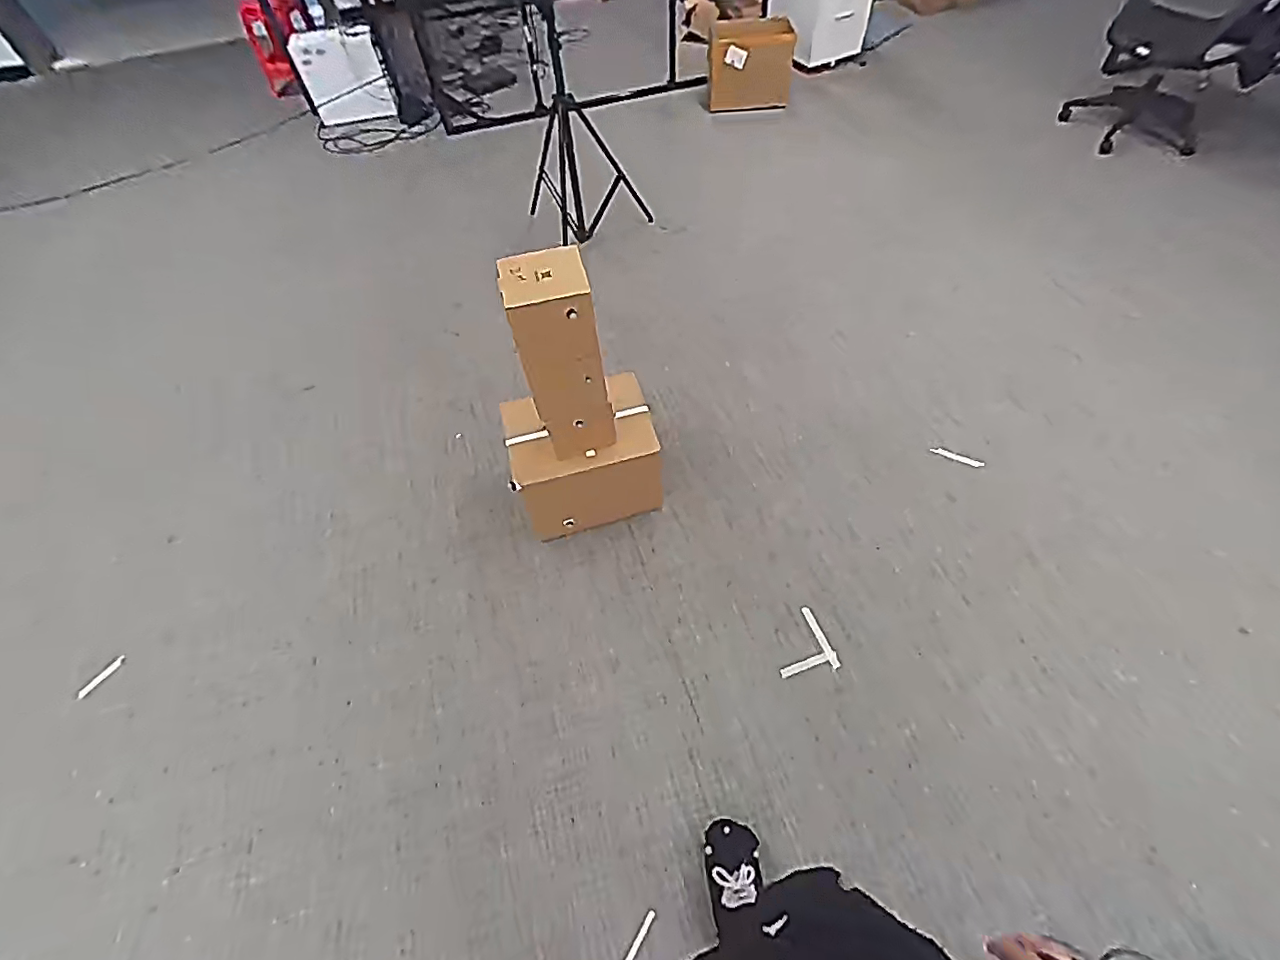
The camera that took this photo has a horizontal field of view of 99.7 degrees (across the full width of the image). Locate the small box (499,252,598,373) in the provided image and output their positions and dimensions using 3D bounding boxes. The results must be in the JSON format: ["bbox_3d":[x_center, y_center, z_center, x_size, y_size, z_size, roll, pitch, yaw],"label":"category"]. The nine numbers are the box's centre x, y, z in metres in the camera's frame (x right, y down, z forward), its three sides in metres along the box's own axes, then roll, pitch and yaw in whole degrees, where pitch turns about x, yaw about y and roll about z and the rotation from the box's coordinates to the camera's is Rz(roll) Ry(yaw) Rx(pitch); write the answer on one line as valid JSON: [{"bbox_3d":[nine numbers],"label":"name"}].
[{"bbox_3d":[-0.191,-0.357,1.166,0.179,0.176,0.168,-13,57,-5],"label":"small box"}]

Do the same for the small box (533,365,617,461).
[{"bbox_3d":[-0.170,-0.174,1.438,0.179,0.176,0.168,-16,58,-8],"label":"small box"}]
